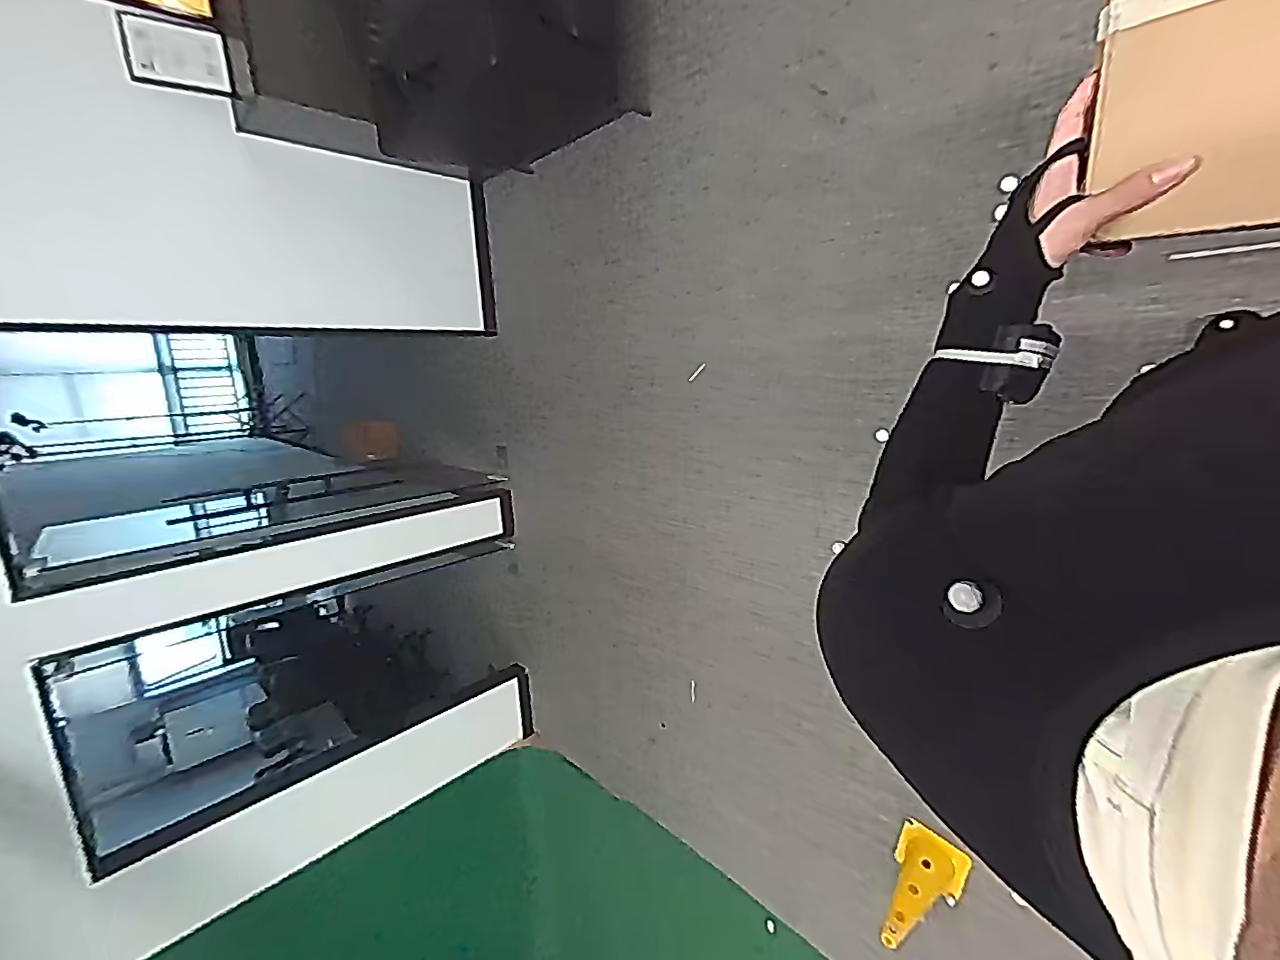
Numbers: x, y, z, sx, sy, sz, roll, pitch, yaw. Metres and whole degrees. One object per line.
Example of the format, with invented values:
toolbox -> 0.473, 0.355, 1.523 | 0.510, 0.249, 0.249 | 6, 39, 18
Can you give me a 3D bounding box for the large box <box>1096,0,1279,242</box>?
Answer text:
large box -> 0.603, -0.357, 0.360 | 0.408, 0.320, 0.320 | 13, 116, 46
